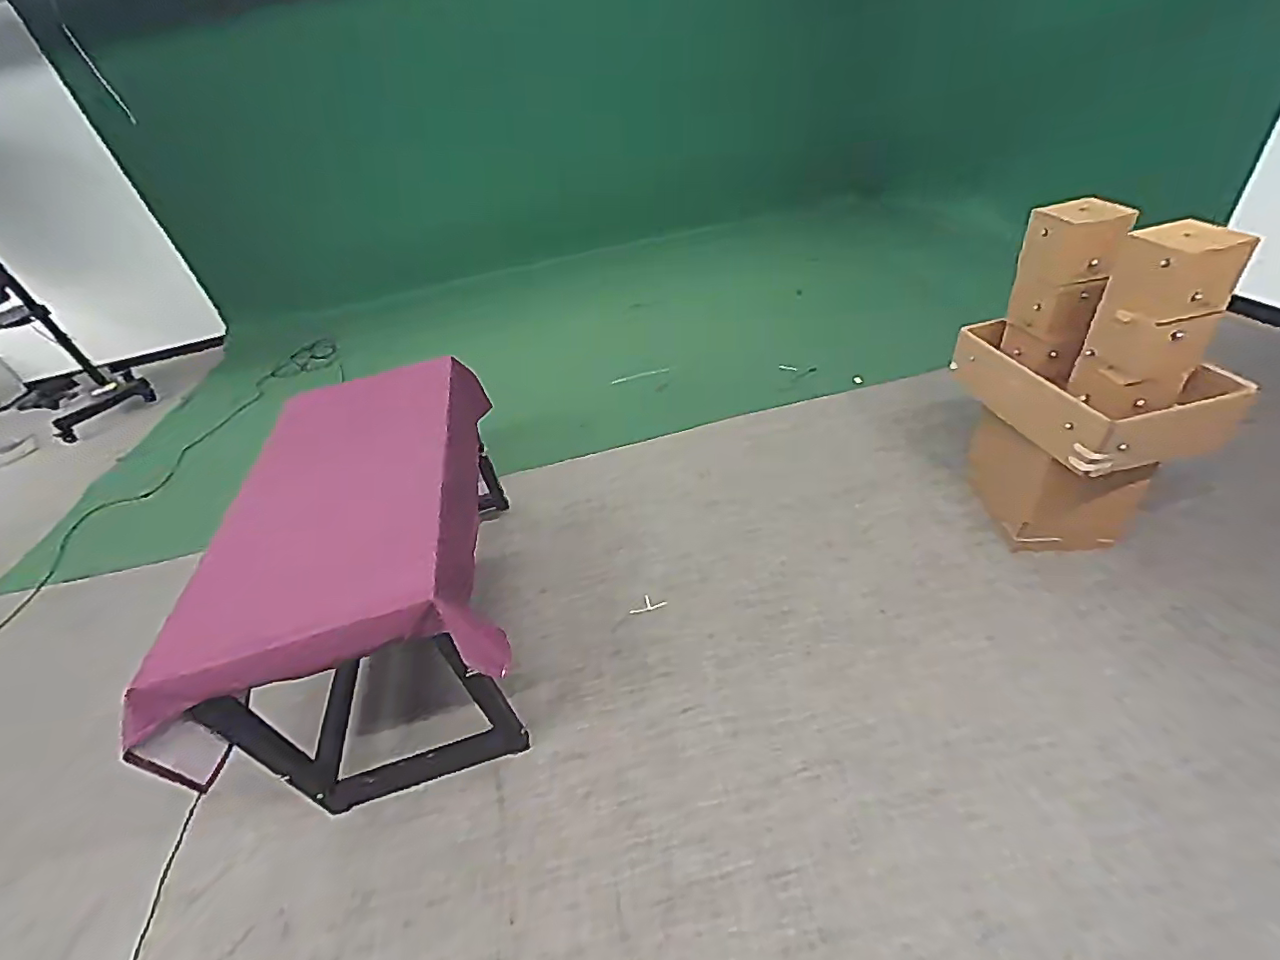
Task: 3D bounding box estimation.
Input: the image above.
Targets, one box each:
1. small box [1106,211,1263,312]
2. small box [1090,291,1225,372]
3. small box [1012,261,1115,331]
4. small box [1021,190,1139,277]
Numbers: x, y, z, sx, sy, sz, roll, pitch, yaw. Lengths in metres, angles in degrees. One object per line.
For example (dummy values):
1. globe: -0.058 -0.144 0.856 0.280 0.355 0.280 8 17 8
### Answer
1. small box: 1.279 -0.521 1.290 0.168 0.176 0.179 -13 39 1
2. small box: 1.308 -0.394 1.389 0.179 0.176 0.168 -12 38 1
3. small box: 1.250 -0.563 1.612 0.179 0.176 0.168 -13 39 0
4. small box: 1.212 -0.687 1.509 0.168 0.176 0.179 -12 40 3
